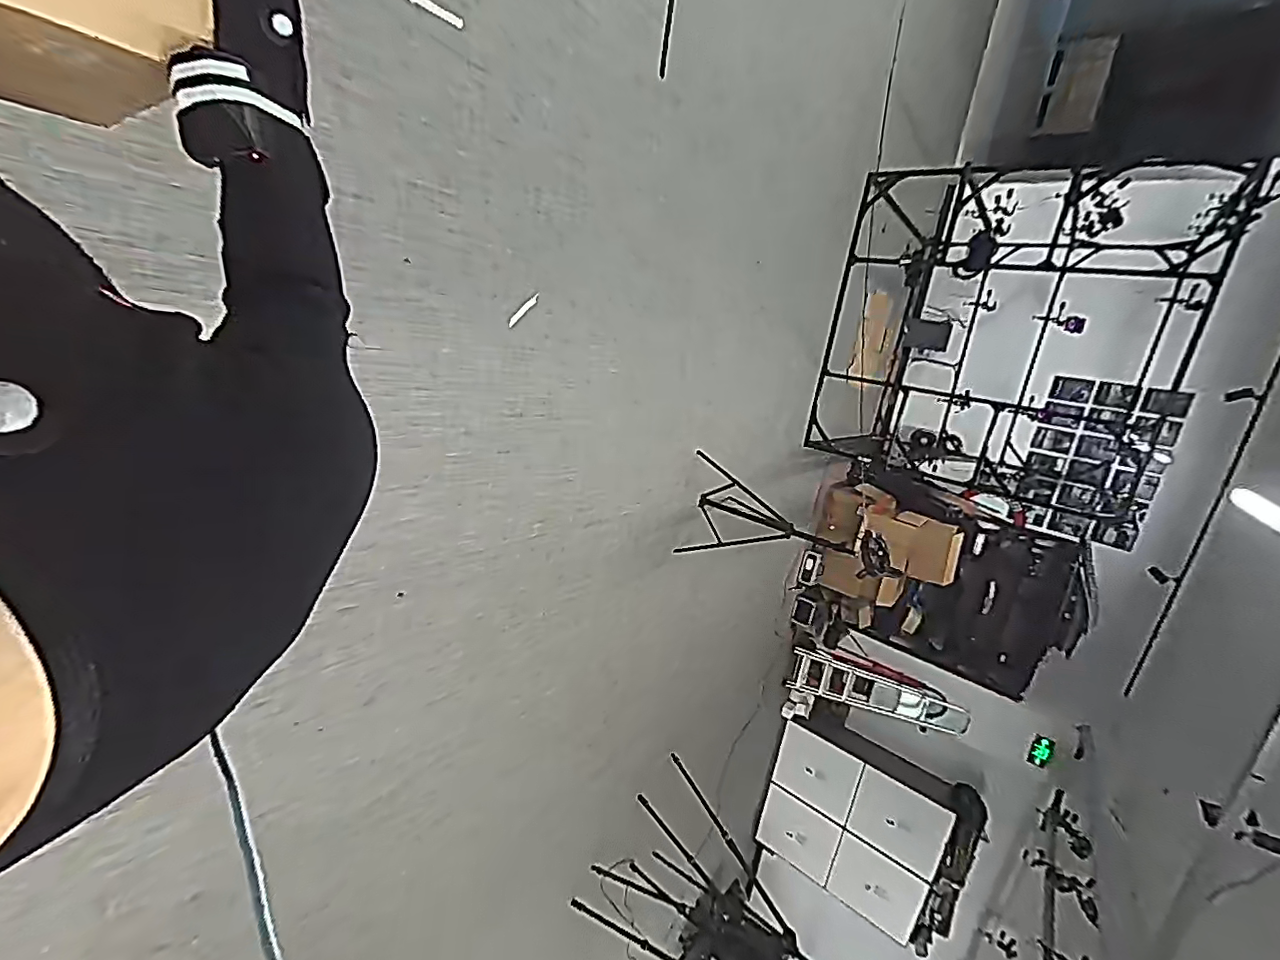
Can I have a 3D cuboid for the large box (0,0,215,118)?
[{"bbox_3d":[-0.539,-0.458,0.291,0.408,0.320,0.320,-13,115,-53],"label":"large box"}]
